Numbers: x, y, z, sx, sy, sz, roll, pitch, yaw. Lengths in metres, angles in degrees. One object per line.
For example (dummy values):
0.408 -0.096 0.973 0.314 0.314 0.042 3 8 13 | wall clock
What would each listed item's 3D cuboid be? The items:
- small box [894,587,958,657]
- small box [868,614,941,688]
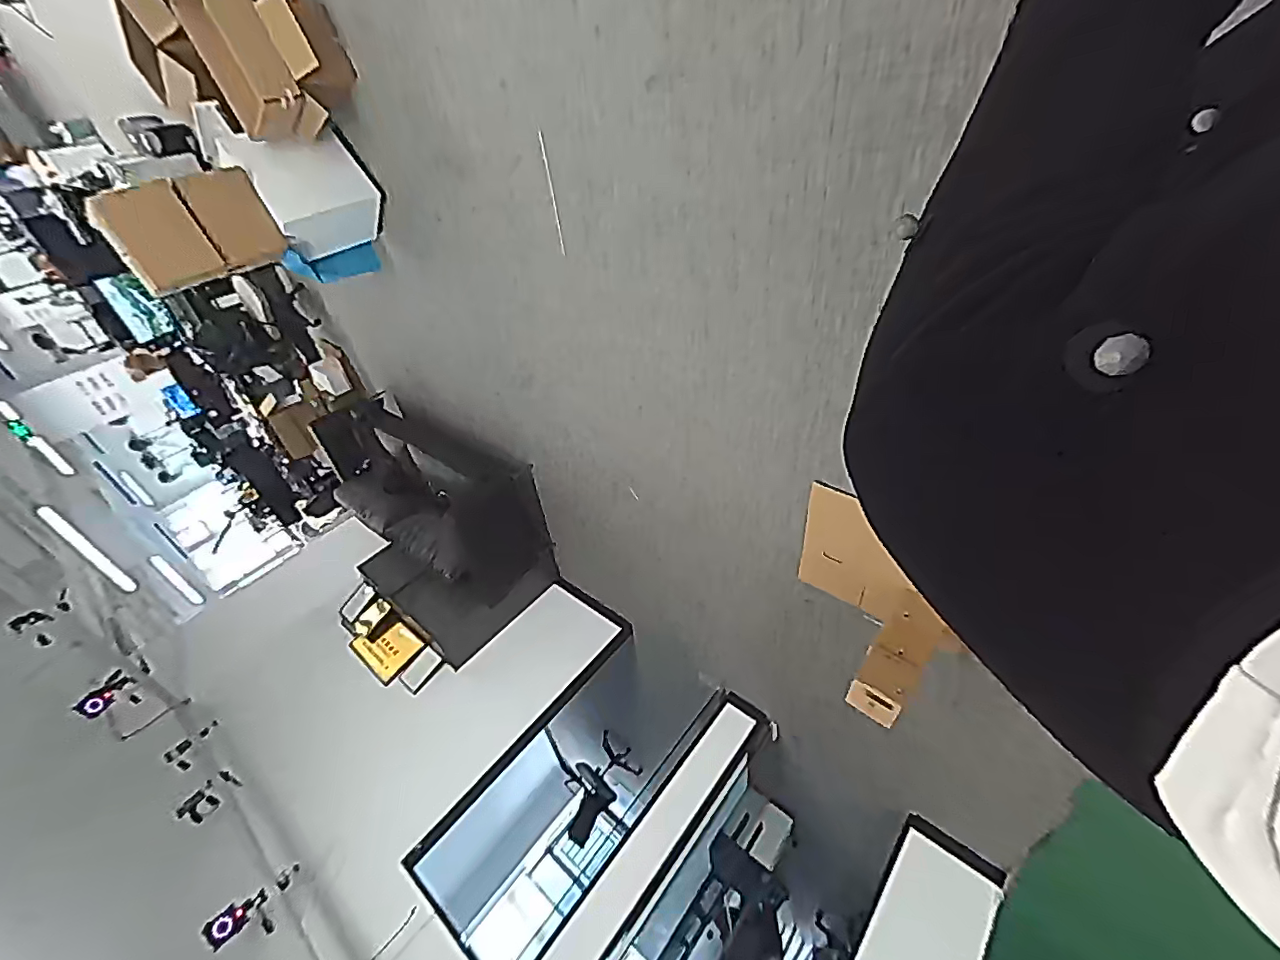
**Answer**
1.095 0.544 2.098 0.179 0.176 0.168 27 142 32 | small box
0.986 0.630 2.017 0.179 0.176 0.168 26 141 31 | small box
